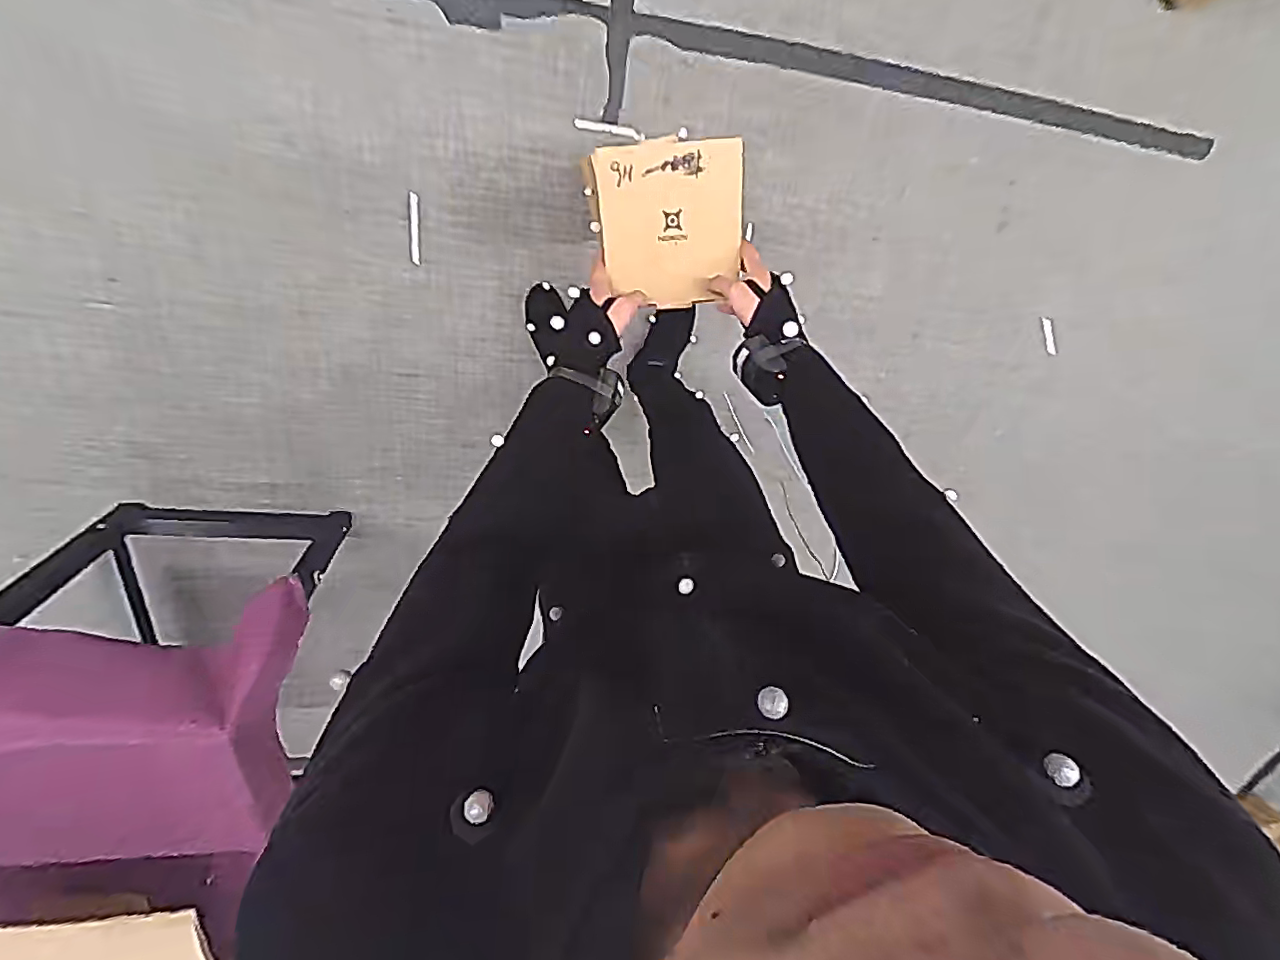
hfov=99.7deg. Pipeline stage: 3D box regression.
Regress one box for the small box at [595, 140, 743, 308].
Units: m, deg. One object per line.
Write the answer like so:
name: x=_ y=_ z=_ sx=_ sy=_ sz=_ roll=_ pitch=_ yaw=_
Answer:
small box: x=0.033 y=-0.334 z=0.705 sx=0.168 sy=0.176 sz=0.179 roll=-4 pitch=119 yaw=-1
